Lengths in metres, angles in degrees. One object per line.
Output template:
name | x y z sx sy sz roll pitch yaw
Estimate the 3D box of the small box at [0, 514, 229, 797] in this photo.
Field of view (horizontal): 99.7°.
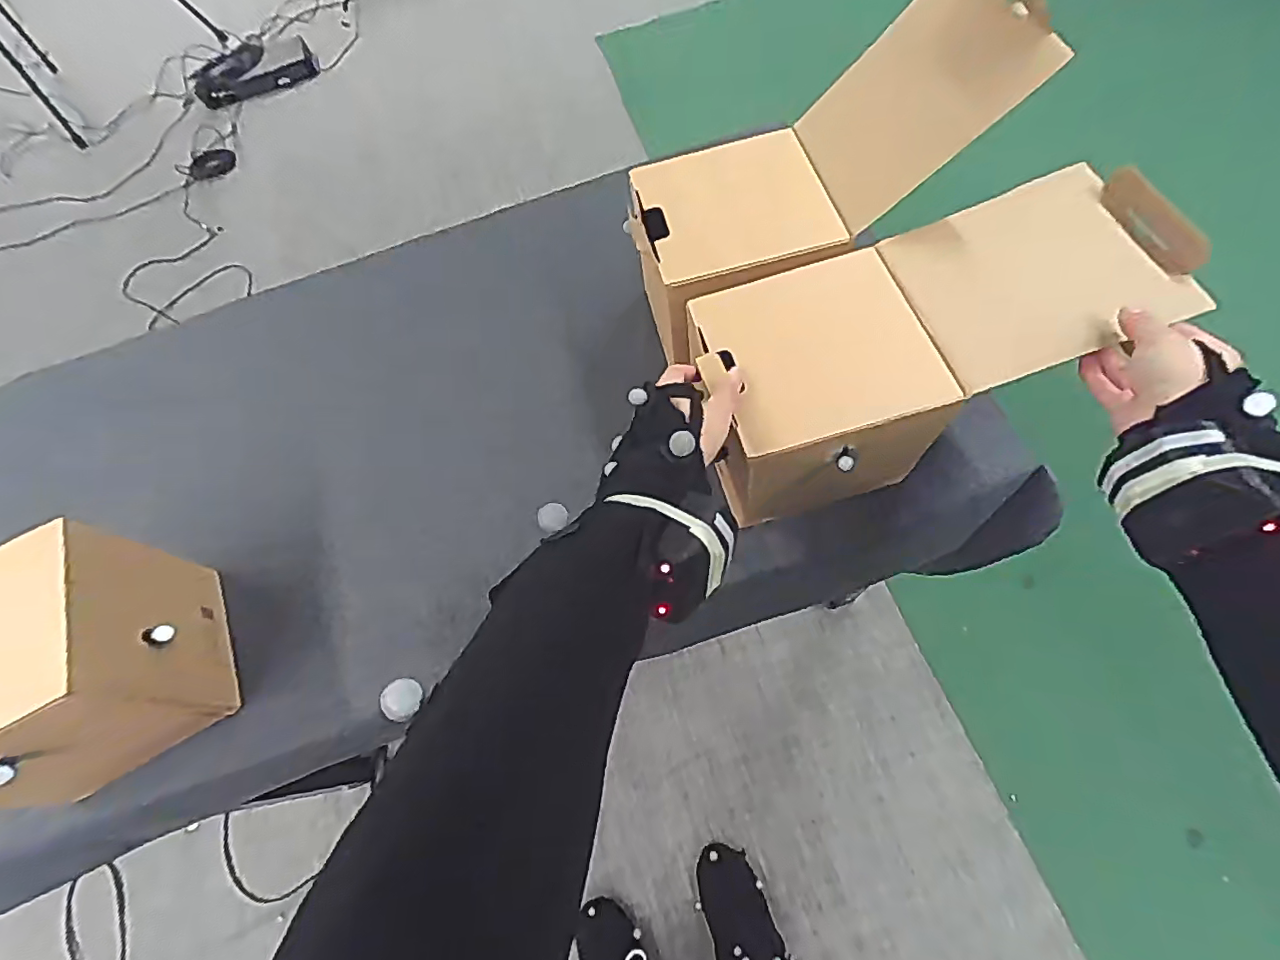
small box | -0.517 0.163 0.490 0.179 0.176 0.168 -29 64 -6
